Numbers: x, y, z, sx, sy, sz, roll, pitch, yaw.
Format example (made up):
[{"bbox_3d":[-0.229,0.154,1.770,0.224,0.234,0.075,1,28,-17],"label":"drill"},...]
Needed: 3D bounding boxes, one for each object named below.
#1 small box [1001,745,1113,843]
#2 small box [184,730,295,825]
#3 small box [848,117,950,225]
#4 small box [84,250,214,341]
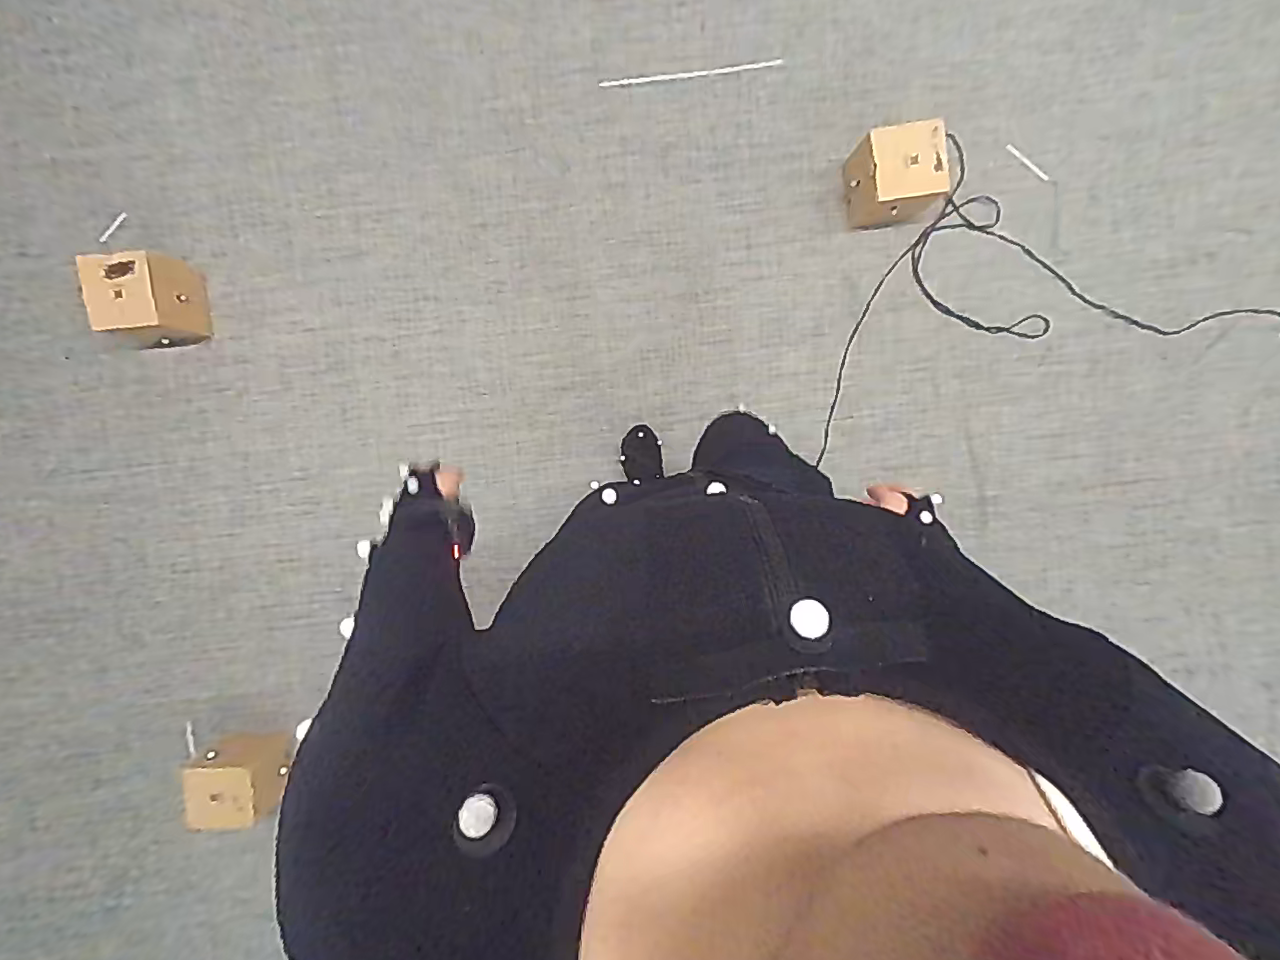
[{"bbox_3d":[1.131,0.847,1.475,0.179,0.176,0.168,-7,93,2],"label":"small box"},{"bbox_3d":[-1.077,0.799,1.465,0.179,0.176,0.168,-1,95,0],"label":"small box"},{"bbox_3d":[0.628,-0.753,1.336,0.179,0.176,0.168,-9,95,2],"label":"small box"},{"bbox_3d":[-1.225,-0.459,1.363,0.168,0.176,0.179,-5,95,0],"label":"small box"}]
